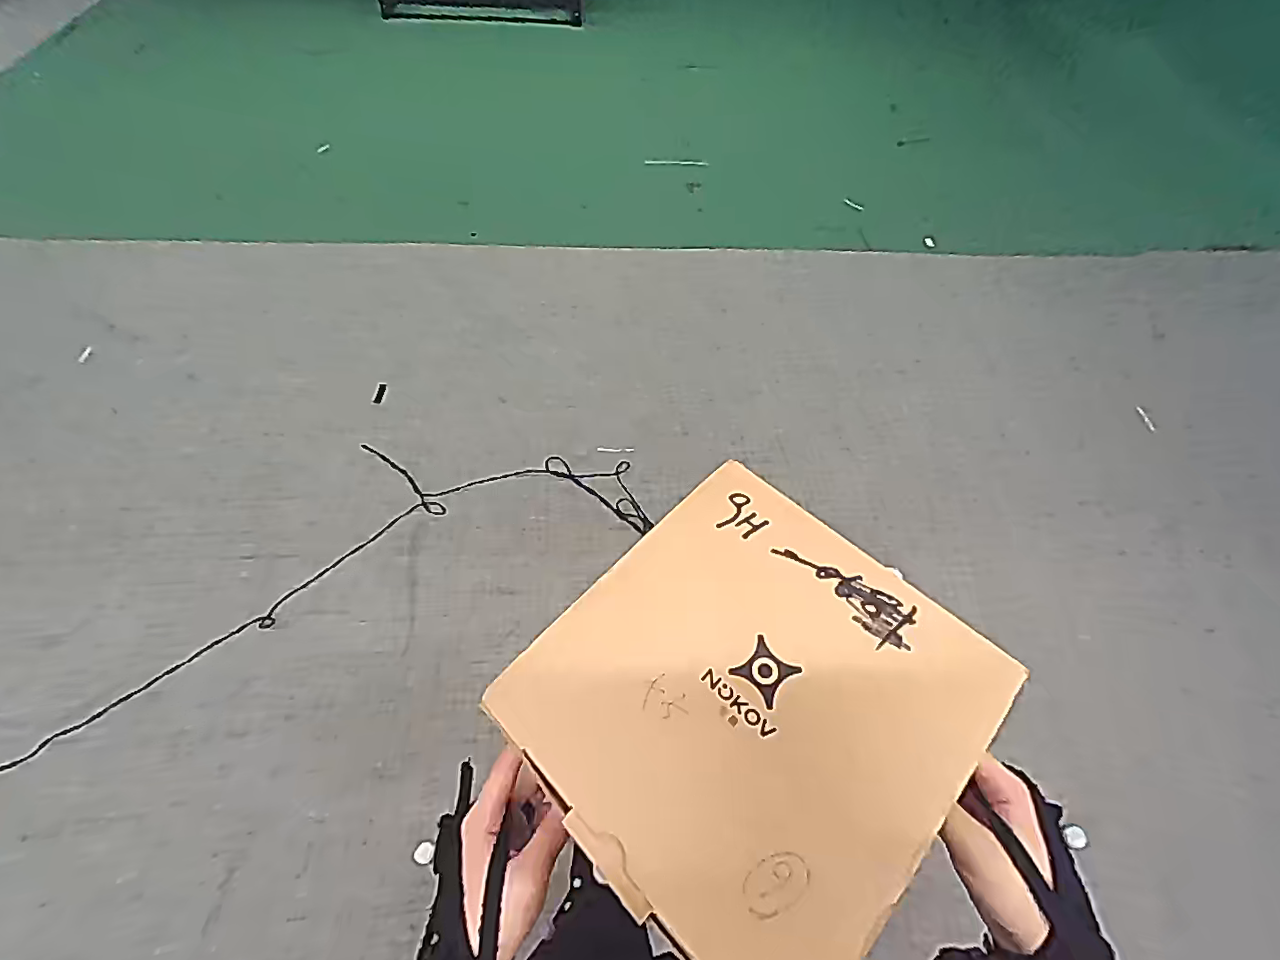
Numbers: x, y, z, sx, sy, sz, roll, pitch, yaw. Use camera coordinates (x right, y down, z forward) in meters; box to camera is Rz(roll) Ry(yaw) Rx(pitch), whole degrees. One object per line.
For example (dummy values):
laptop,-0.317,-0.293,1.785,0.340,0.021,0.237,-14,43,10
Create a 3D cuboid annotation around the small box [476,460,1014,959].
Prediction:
small box,0.049,0.130,0.301,0.168,0.176,0.179,39,68,24
